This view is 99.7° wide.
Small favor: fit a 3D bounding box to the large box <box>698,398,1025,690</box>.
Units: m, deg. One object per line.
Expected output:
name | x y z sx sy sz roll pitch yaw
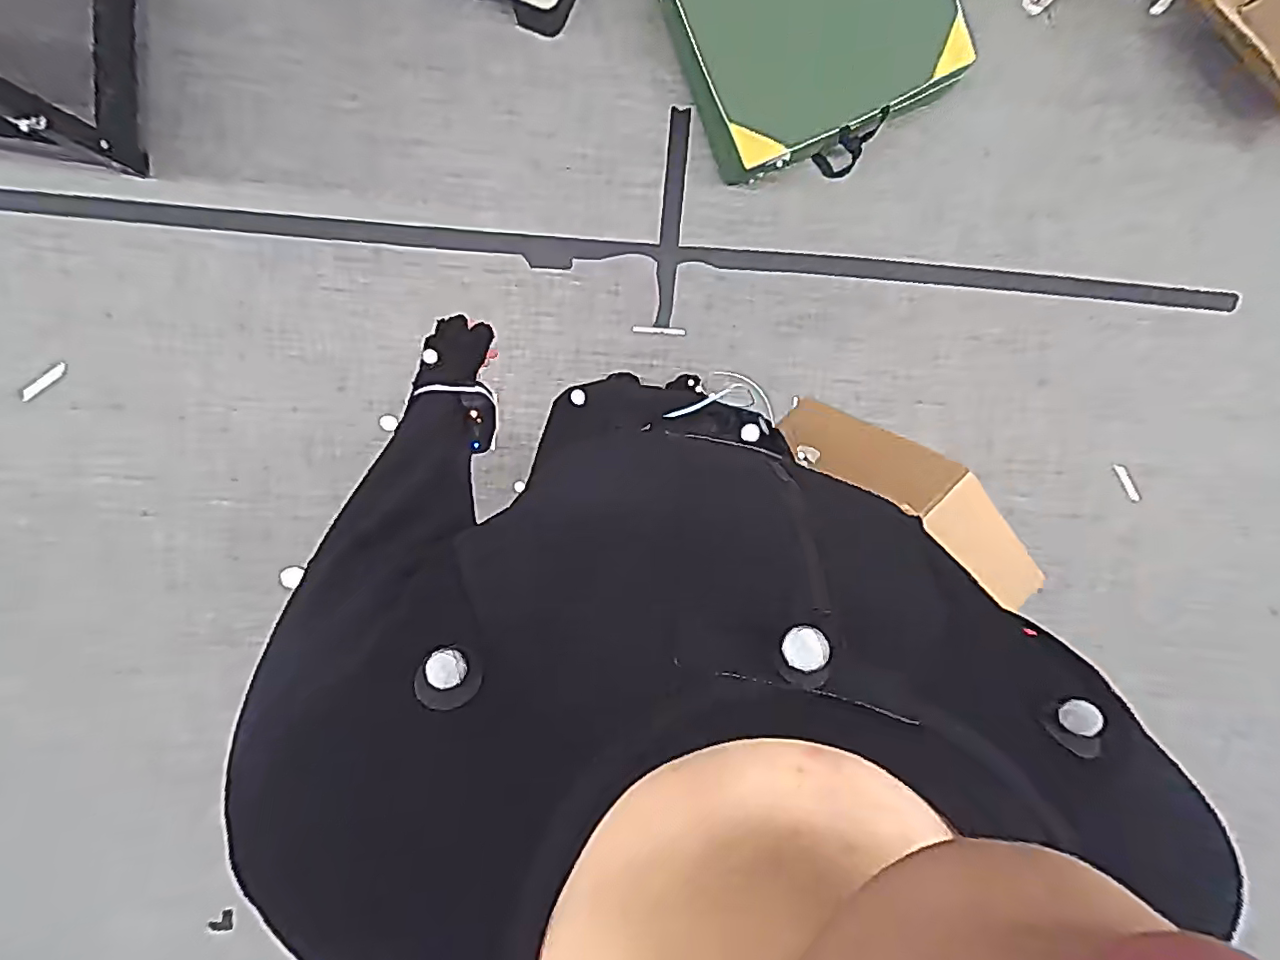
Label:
large box | 0.381 0.099 1.007 0.320 0.408 0.320 40 96 -27
